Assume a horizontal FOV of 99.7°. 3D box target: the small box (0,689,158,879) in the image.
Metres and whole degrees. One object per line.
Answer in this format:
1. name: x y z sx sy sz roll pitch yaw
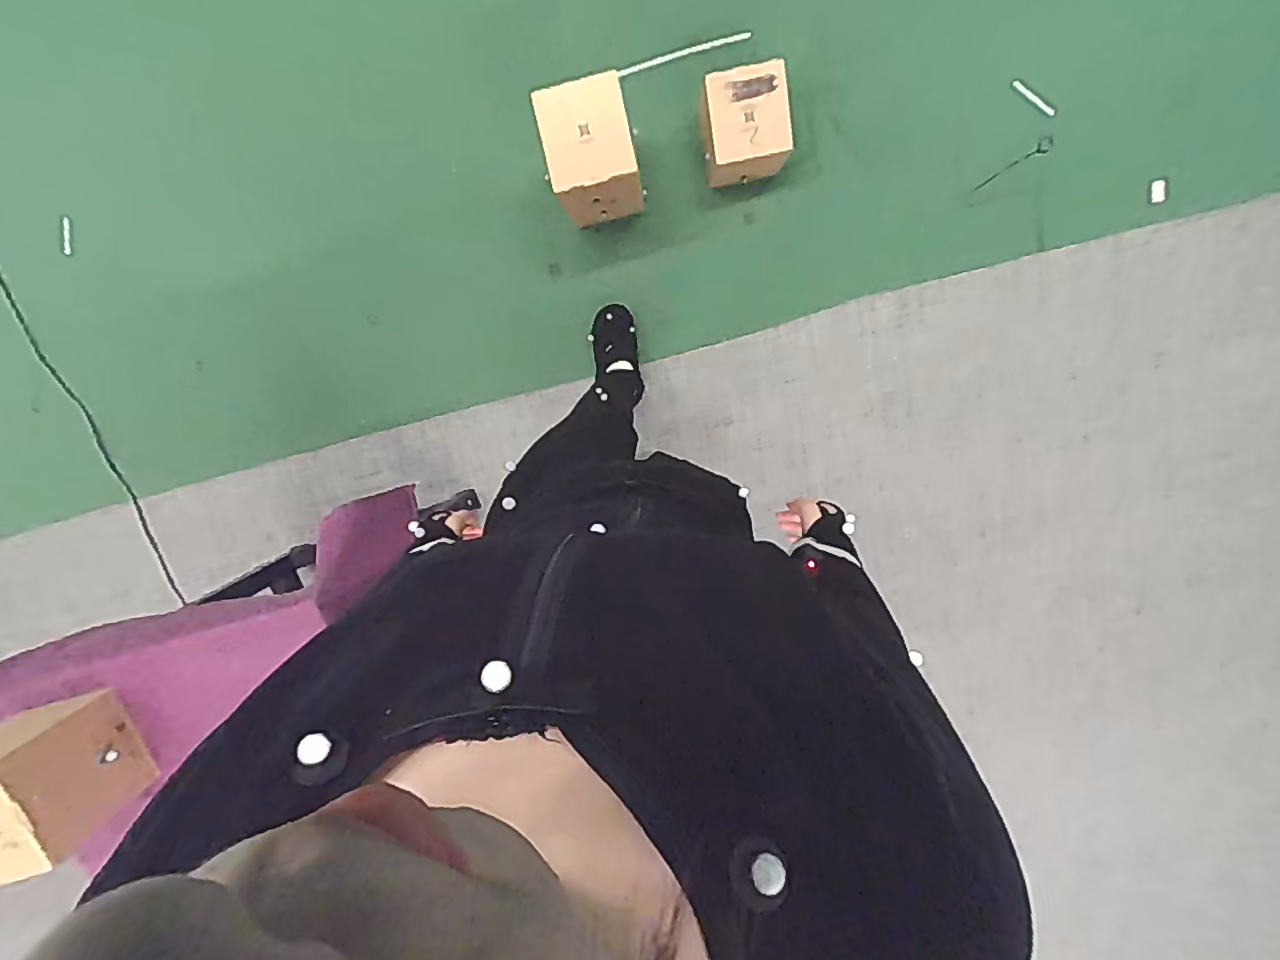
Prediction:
1. small box: -0.868 0.432 0.775 0.179 0.176 0.168 -15 103 2

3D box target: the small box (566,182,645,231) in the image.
1. small box: -0.087 -0.692 1.243 0.179 0.176 0.168 -12 102 6

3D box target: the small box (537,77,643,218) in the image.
1. small box: -0.092 -0.654 1.085 0.168 0.176 0.179 -12 102 5
